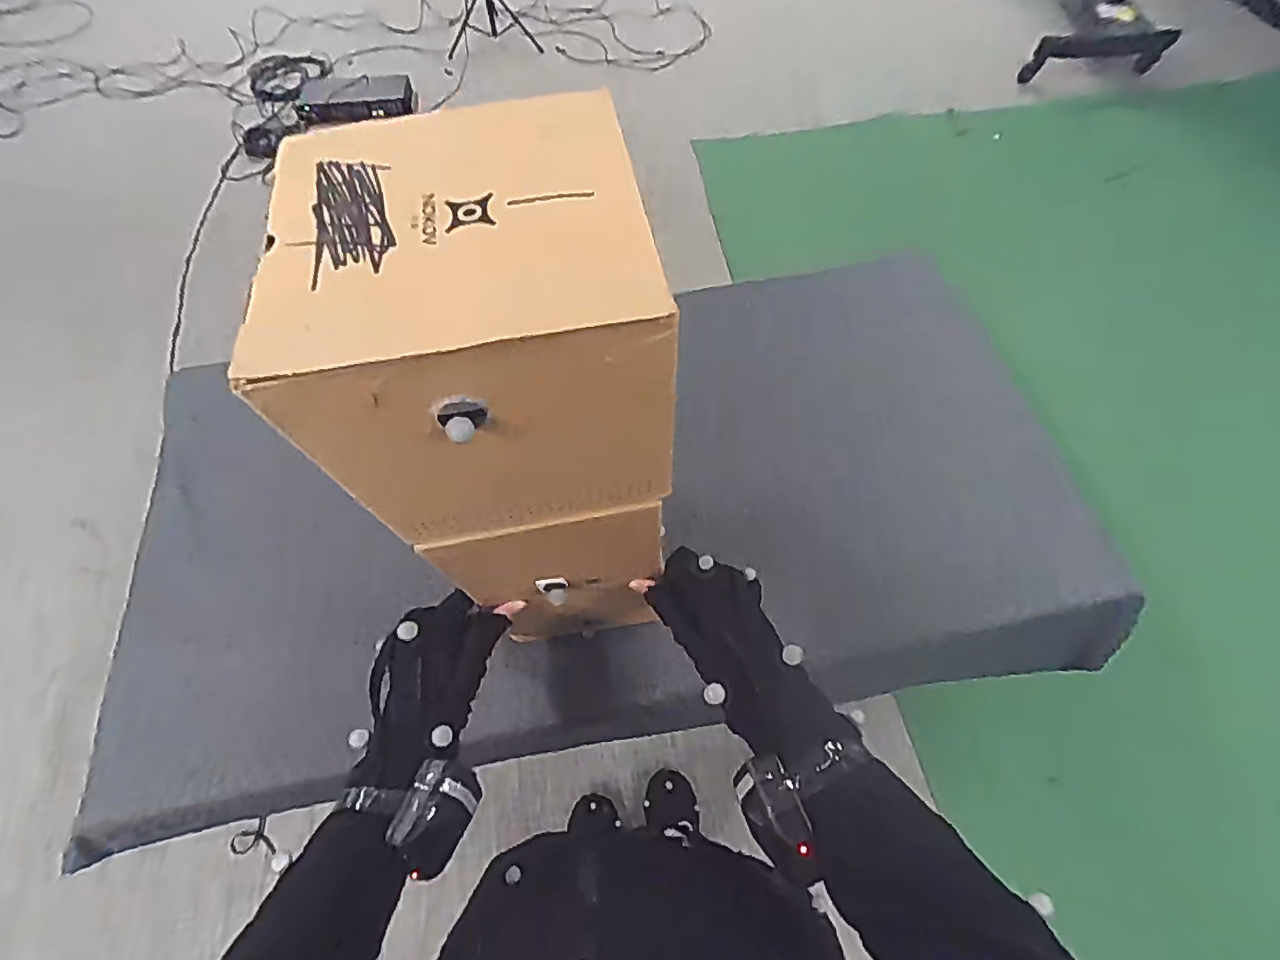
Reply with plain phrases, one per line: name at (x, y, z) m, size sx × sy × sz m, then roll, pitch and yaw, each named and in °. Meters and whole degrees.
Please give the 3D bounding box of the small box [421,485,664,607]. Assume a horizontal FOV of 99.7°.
small box at (-0.078, -0.006, 0.470) m, size 0.168 × 0.176 × 0.179 m, roll -11°, pitch 64°, yaw -3°

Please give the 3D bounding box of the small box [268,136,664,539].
small box at (-0.083, -0.074, 0.339) m, size 0.179 × 0.176 × 0.168 m, roll -10°, pitch 63°, yaw -4°

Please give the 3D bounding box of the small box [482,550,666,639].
small box at (-0.074, 0.072, 0.613) m, size 0.179 × 0.176 × 0.168 m, roll -8°, pitch 62°, yaw -5°
